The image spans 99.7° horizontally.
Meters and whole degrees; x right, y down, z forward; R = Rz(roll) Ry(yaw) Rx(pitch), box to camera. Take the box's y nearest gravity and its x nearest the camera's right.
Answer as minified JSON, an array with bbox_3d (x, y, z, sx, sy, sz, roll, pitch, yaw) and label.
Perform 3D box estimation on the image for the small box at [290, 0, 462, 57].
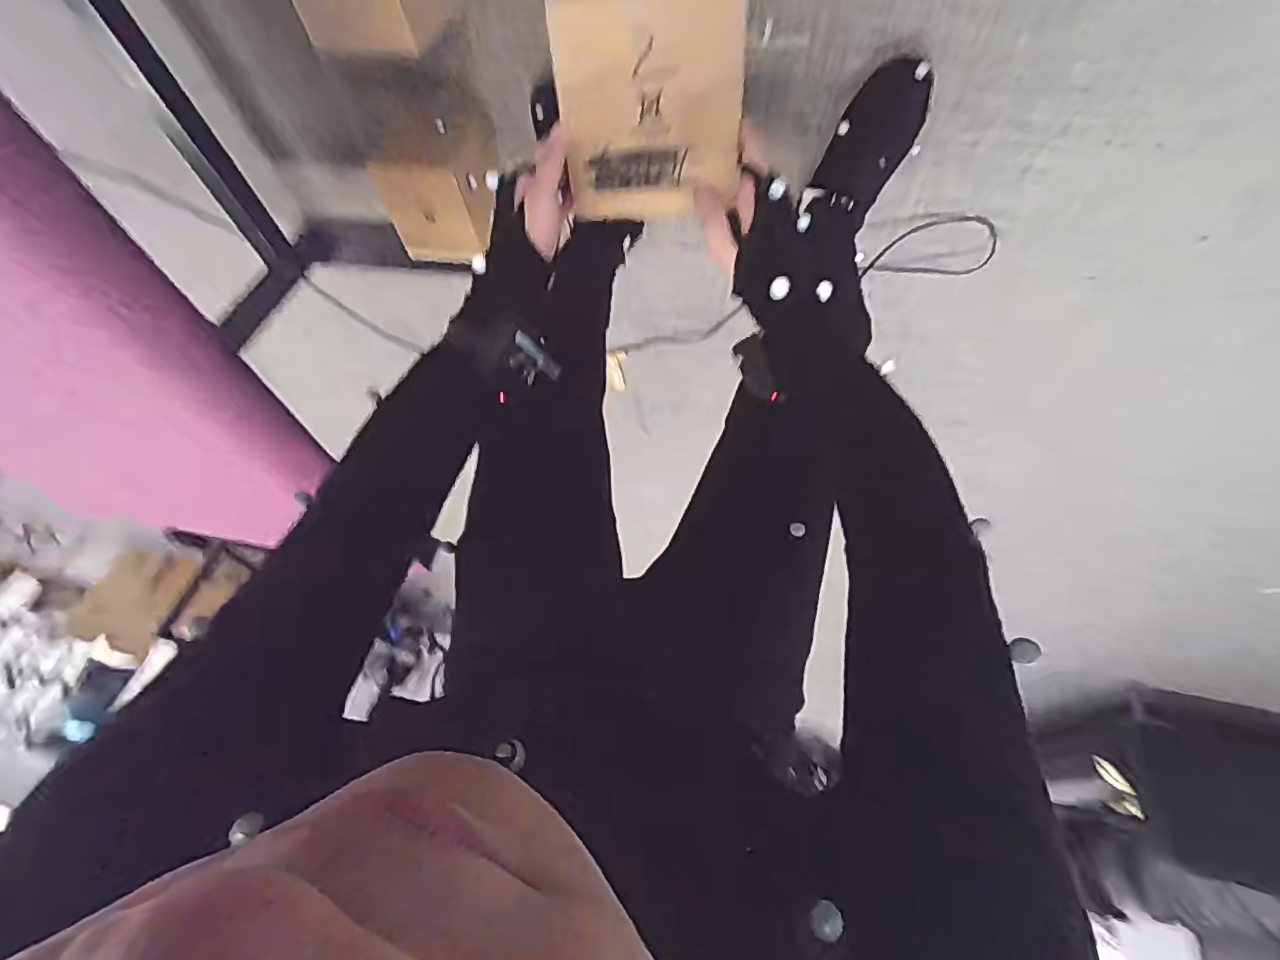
[{"bbox_3d":[-0.366,-0.703,0.720,0.168,0.176,0.179,9,150,11],"label":"small box"}]

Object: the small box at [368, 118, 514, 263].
[{"bbox_3d":[-0.350,-0.531,0.996,0.168,0.176,0.179,8,148,11],"label":"small box"}]
